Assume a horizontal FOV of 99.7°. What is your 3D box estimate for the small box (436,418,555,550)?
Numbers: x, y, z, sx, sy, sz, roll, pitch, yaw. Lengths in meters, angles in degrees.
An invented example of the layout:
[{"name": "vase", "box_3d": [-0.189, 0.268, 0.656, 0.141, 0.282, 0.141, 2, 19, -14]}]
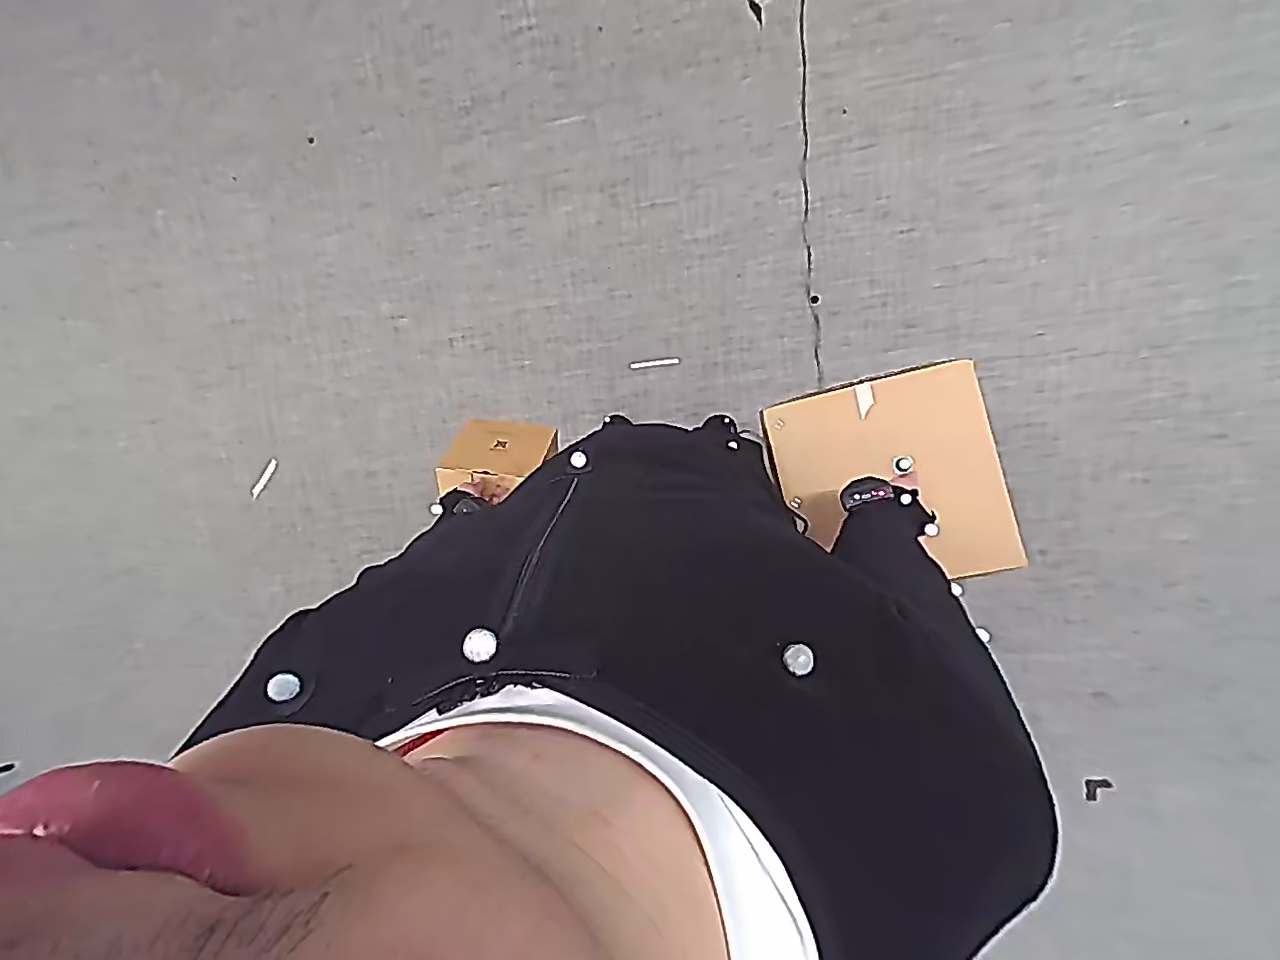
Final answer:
[{"name": "small box", "box_3d": [-0.252, 0.008, 0.995, 0.168, 0.179, 0.176, 7, 125, 2]}]
